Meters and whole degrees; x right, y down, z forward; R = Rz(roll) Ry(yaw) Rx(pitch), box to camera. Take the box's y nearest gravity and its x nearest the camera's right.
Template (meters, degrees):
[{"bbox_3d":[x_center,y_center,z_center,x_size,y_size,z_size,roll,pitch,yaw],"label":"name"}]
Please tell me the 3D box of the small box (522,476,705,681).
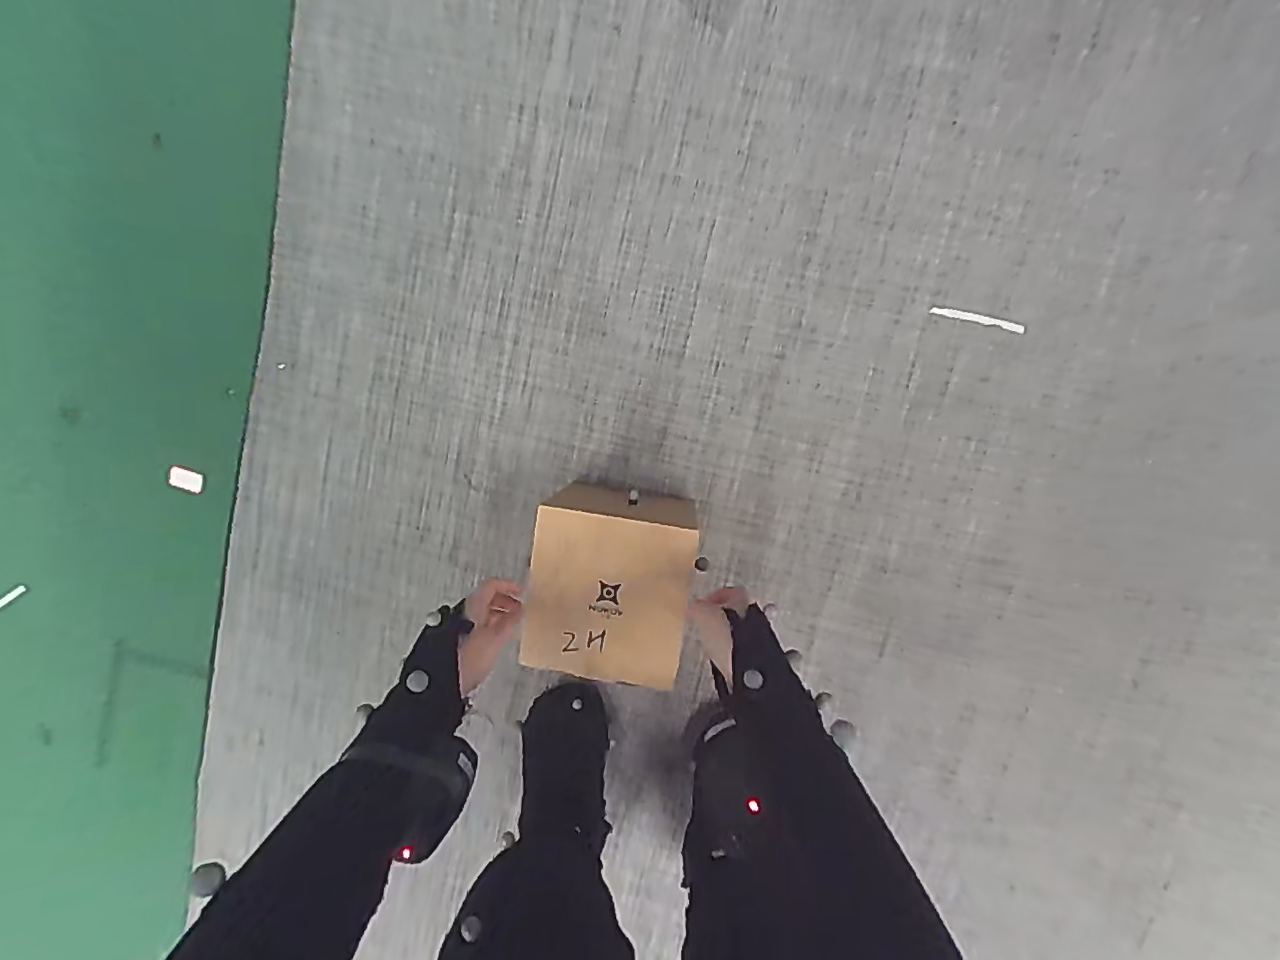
[{"bbox_3d":[-0.024,0.098,0.622,0.168,0.176,0.179,9,98,4],"label":"small box"}]
